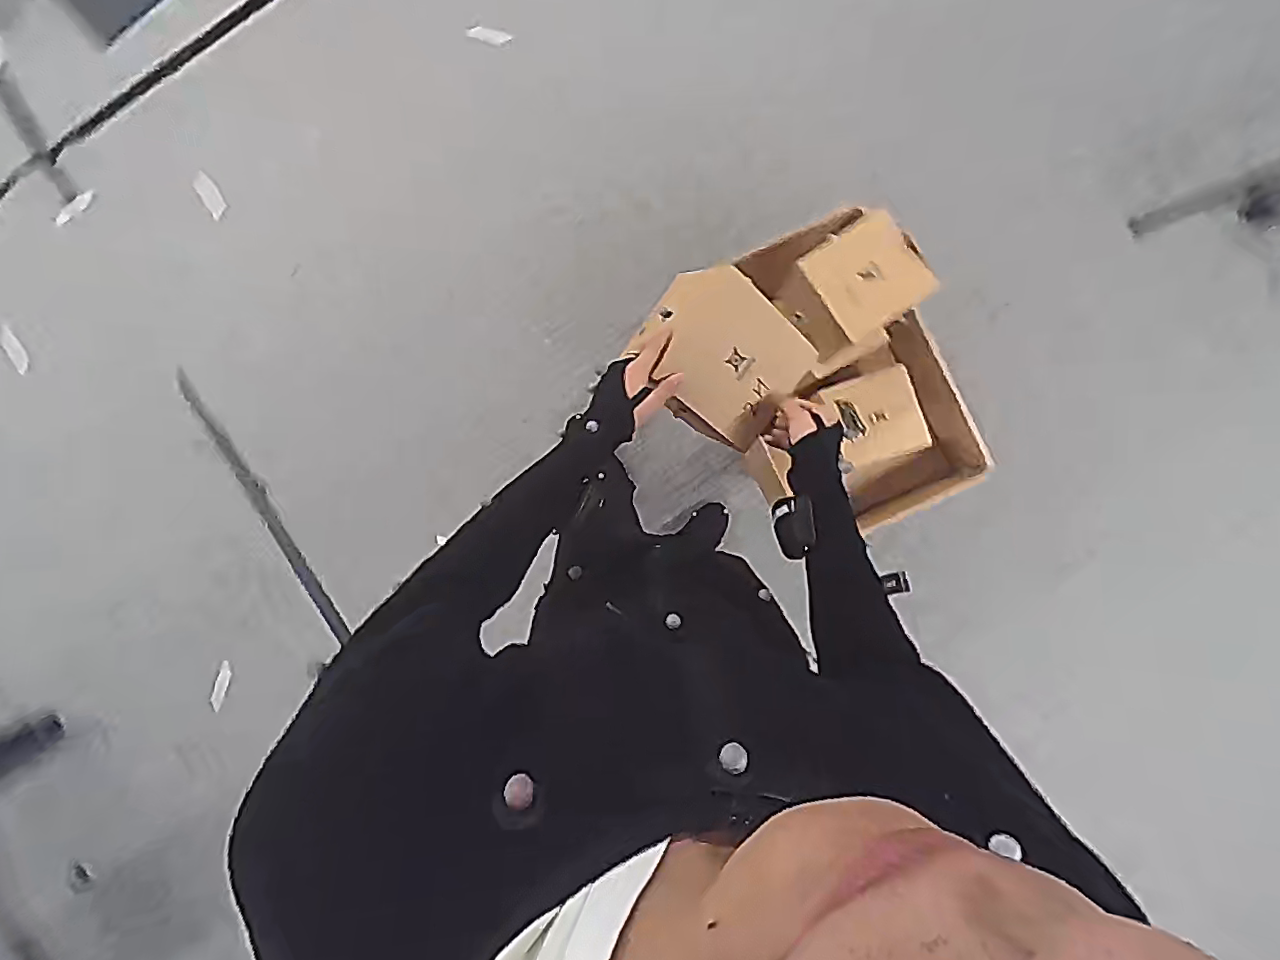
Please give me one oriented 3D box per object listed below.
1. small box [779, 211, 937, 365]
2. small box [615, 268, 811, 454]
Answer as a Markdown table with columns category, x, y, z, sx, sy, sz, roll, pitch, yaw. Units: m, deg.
| category | x | y | z | sx | sy | sz | roll | pitch | yaw |
| --- | --- | --- | --- | --- | --- | --- | --- | --- | --- |
| small box | 0.379 | -0.333 | 0.973 | 0.179 | 0.176 | 0.168 | -33 | 89 | 0 |
| small box | 0.090 | -0.163 | 0.751 | 0.179 | 0.176 | 0.168 | 35 | 93 | -25 |
